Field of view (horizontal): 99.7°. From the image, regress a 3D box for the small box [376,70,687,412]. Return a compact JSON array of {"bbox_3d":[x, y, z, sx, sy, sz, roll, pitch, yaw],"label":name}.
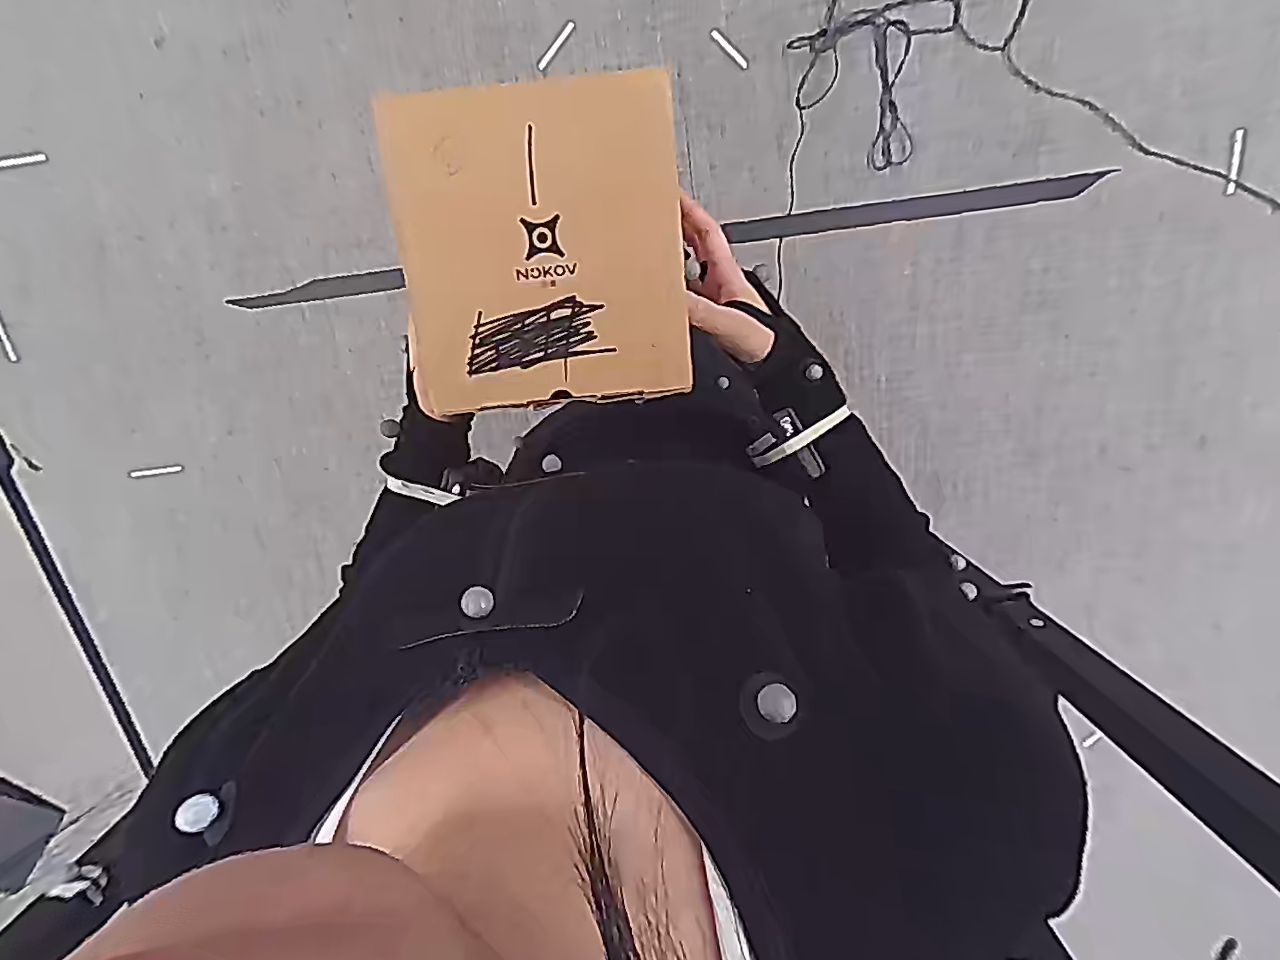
[{"bbox_3d":[-0.057,-0.153,0.392,0.168,0.176,0.179,-5,104,0],"label":"small box"}]
